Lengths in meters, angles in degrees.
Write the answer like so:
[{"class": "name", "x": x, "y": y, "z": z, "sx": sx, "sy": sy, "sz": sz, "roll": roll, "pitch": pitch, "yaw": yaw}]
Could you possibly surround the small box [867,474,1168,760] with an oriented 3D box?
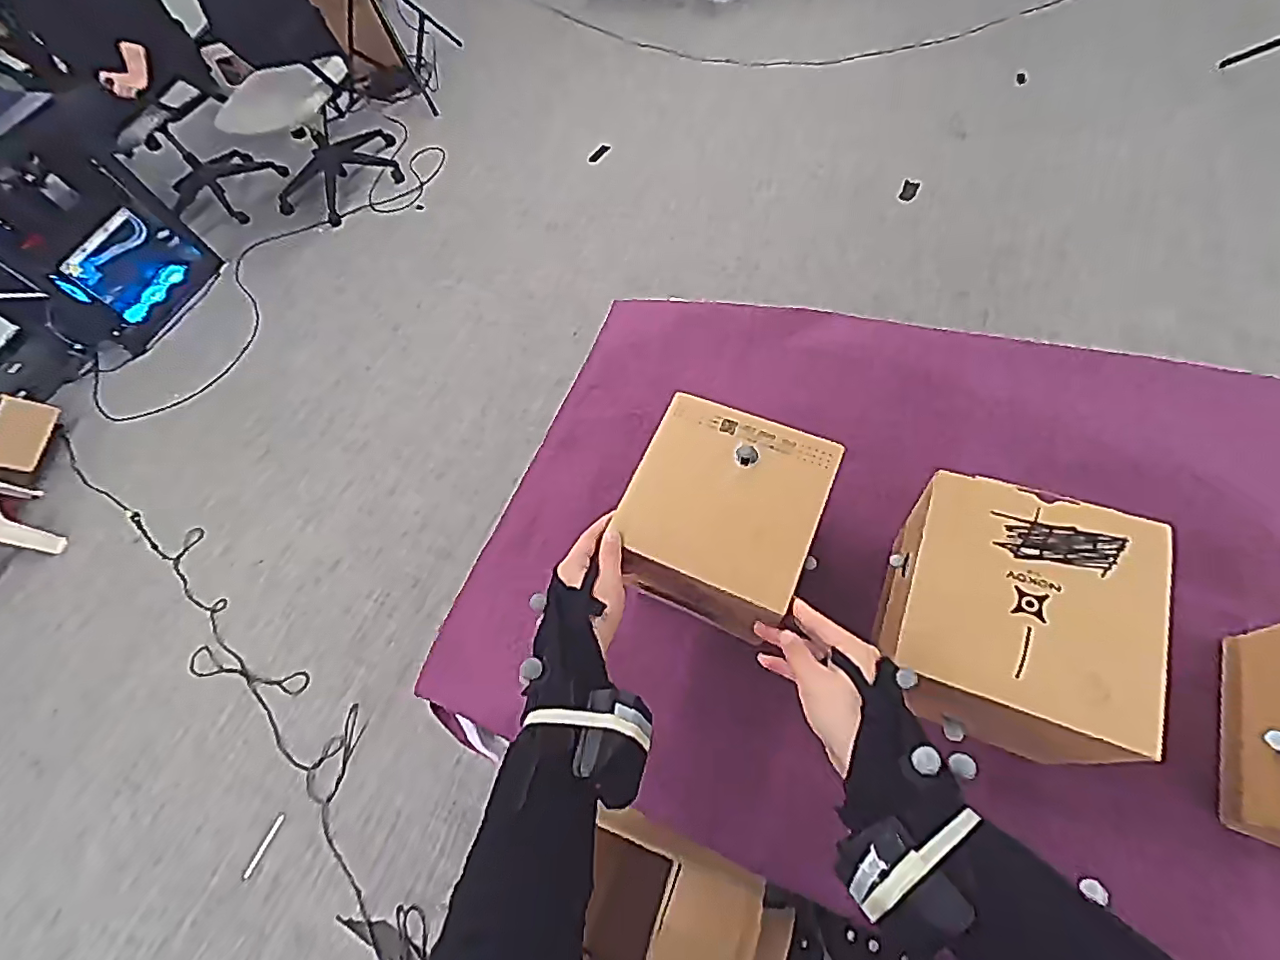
[{"class": "small box", "x": 0.314, "y": 0.125, "z": 0.482, "sx": 0.168, "sy": 0.176, "sz": 0.179, "roll": 16, "pitch": 67, "yaw": 21}]
